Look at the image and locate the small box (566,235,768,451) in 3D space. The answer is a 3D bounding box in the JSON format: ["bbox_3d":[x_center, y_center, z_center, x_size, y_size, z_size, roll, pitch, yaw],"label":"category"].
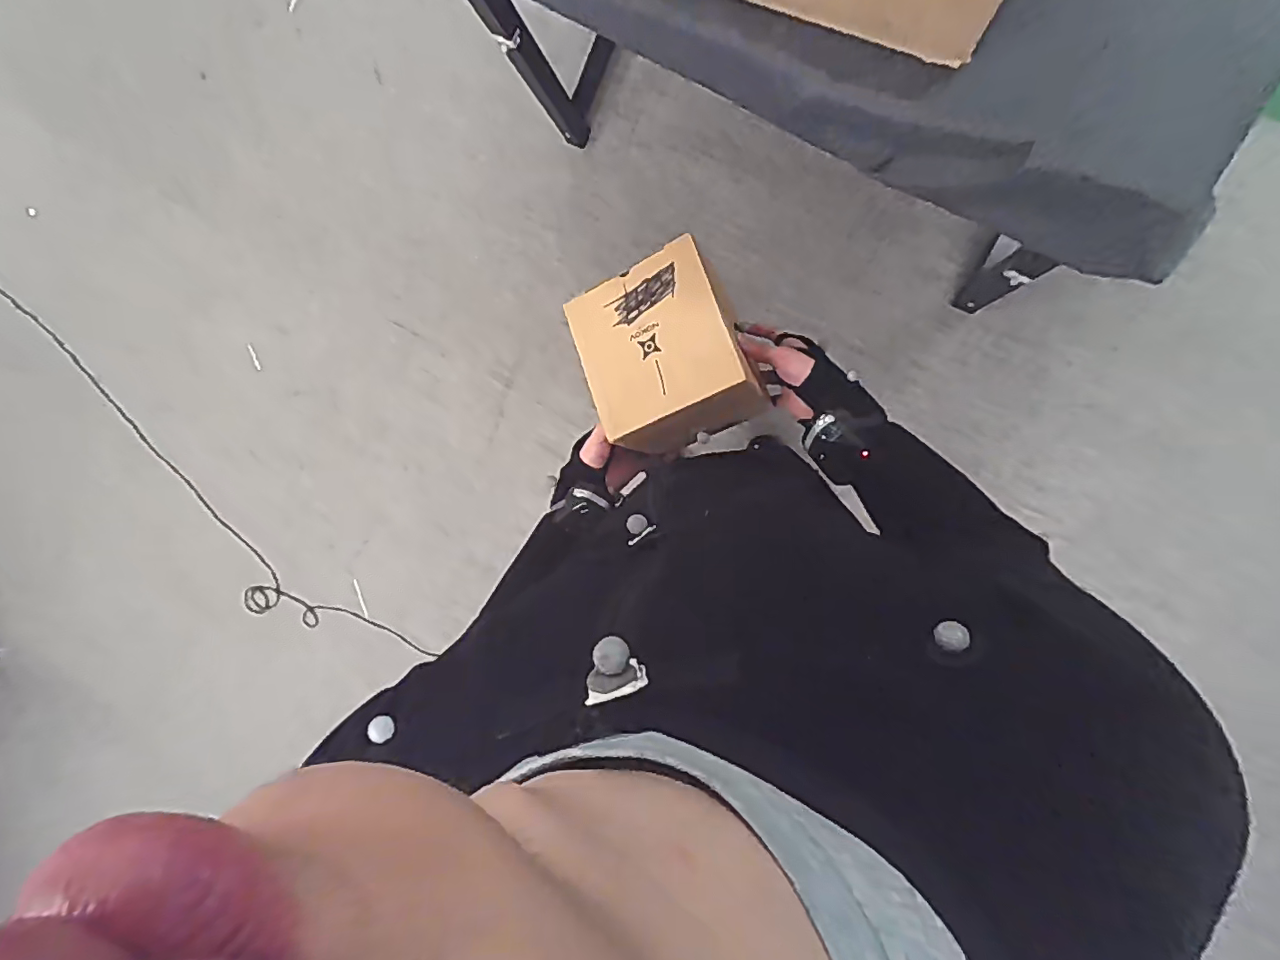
[{"bbox_3d":[0.040,-0.149,0.657,0.168,0.176,0.179,-22,79,21],"label":"small box"}]
